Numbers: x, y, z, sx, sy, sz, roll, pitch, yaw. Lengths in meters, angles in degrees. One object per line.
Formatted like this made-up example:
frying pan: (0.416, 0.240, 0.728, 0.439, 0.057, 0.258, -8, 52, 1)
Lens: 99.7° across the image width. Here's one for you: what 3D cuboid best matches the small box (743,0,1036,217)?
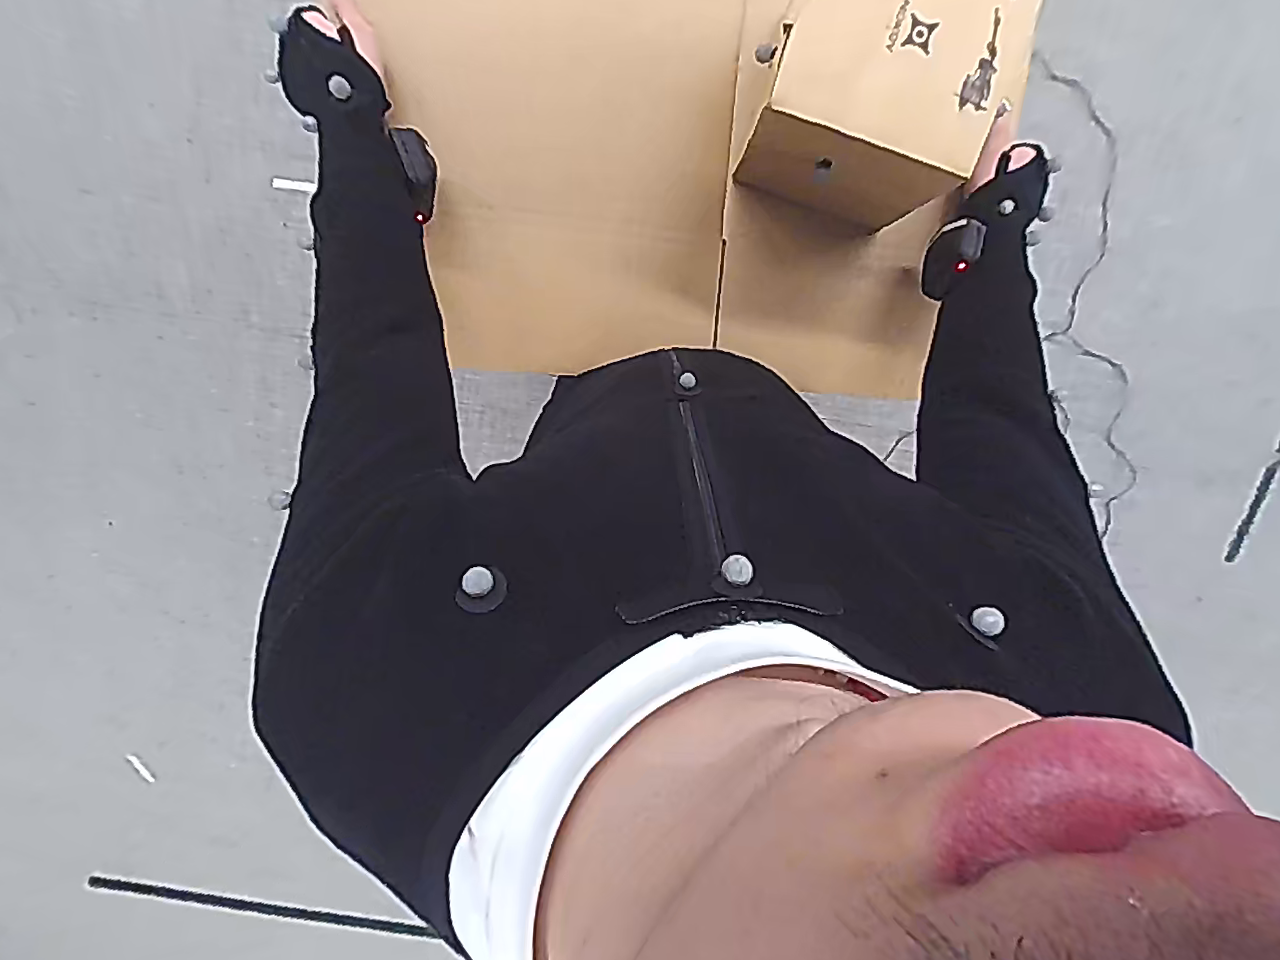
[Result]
small box: (0.208, -0.365, 0.494, 0.179, 0.176, 0.168, 18, 102, -2)
